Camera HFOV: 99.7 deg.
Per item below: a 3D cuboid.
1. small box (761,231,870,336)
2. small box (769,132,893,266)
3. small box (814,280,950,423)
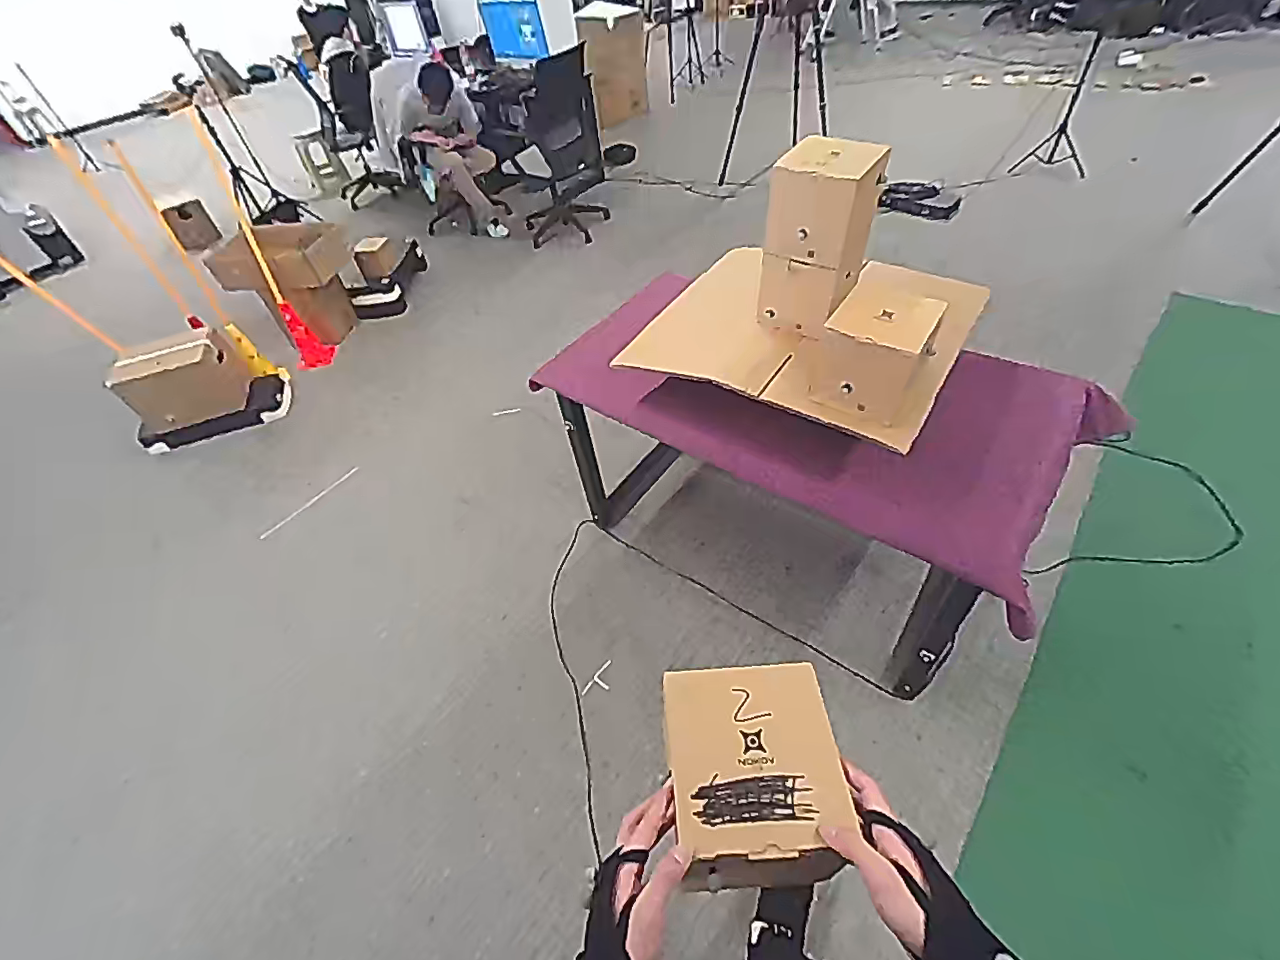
[{"bbox_3d":[0.377,-0.445,1.189,0.168,0.176,0.179,27,57,24],"label":"small box"},{"bbox_3d":[0.366,-0.553,1.065,0.168,0.176,0.179,26,58,25],"label":"small box"},{"bbox_3d":[0.442,-0.239,1.011,0.168,0.176,0.179,26,58,25],"label":"small box"}]
